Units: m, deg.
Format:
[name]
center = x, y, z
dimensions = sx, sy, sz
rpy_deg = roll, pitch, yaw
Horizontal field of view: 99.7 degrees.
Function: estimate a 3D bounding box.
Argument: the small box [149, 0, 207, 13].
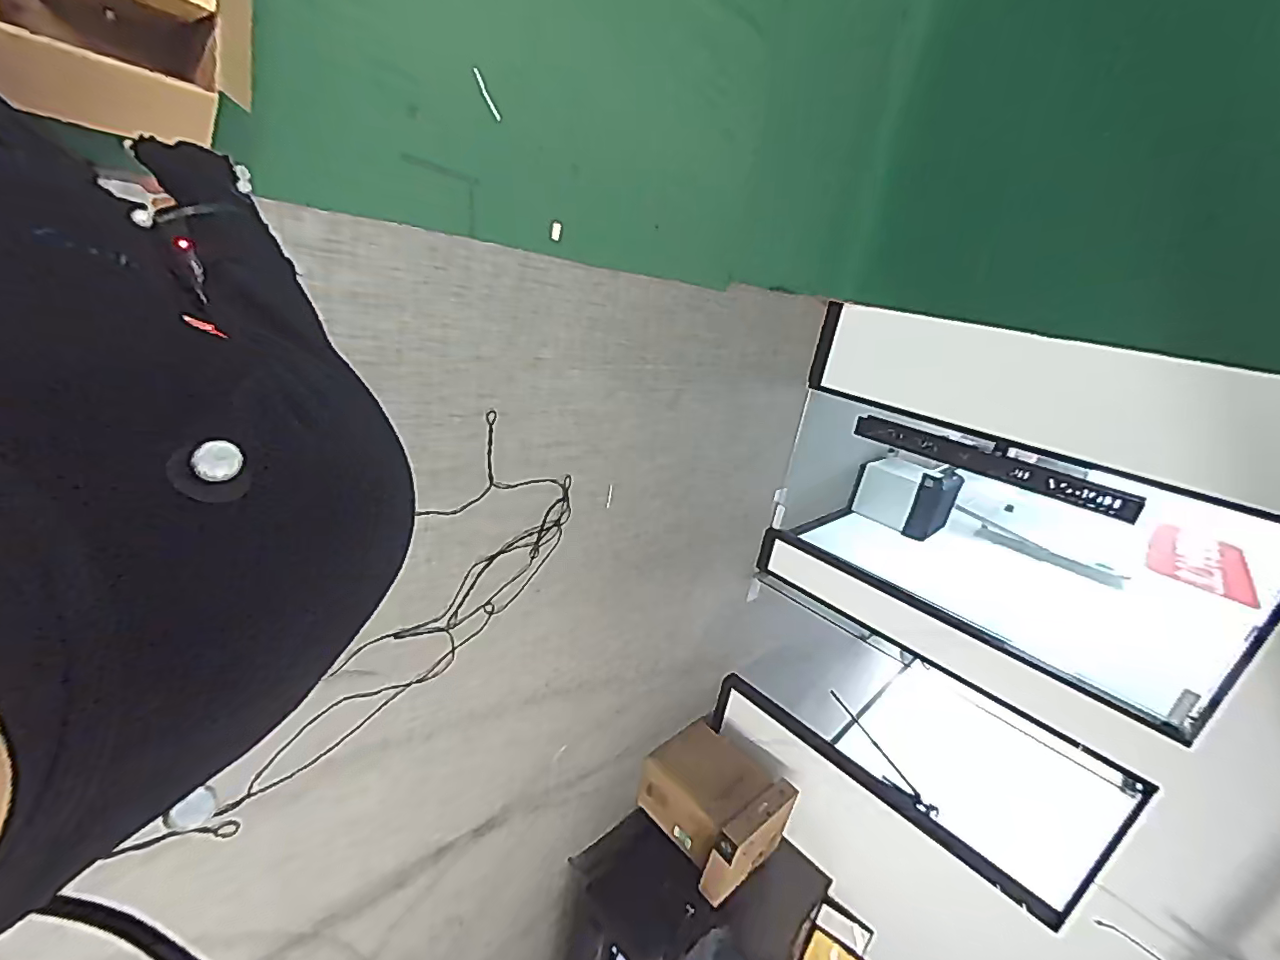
[small box]
center = -0.691, -0.770, 0.718
dimensions = 0.168, 0.176, 0.179
rpy_deg = -6, 116, -49
